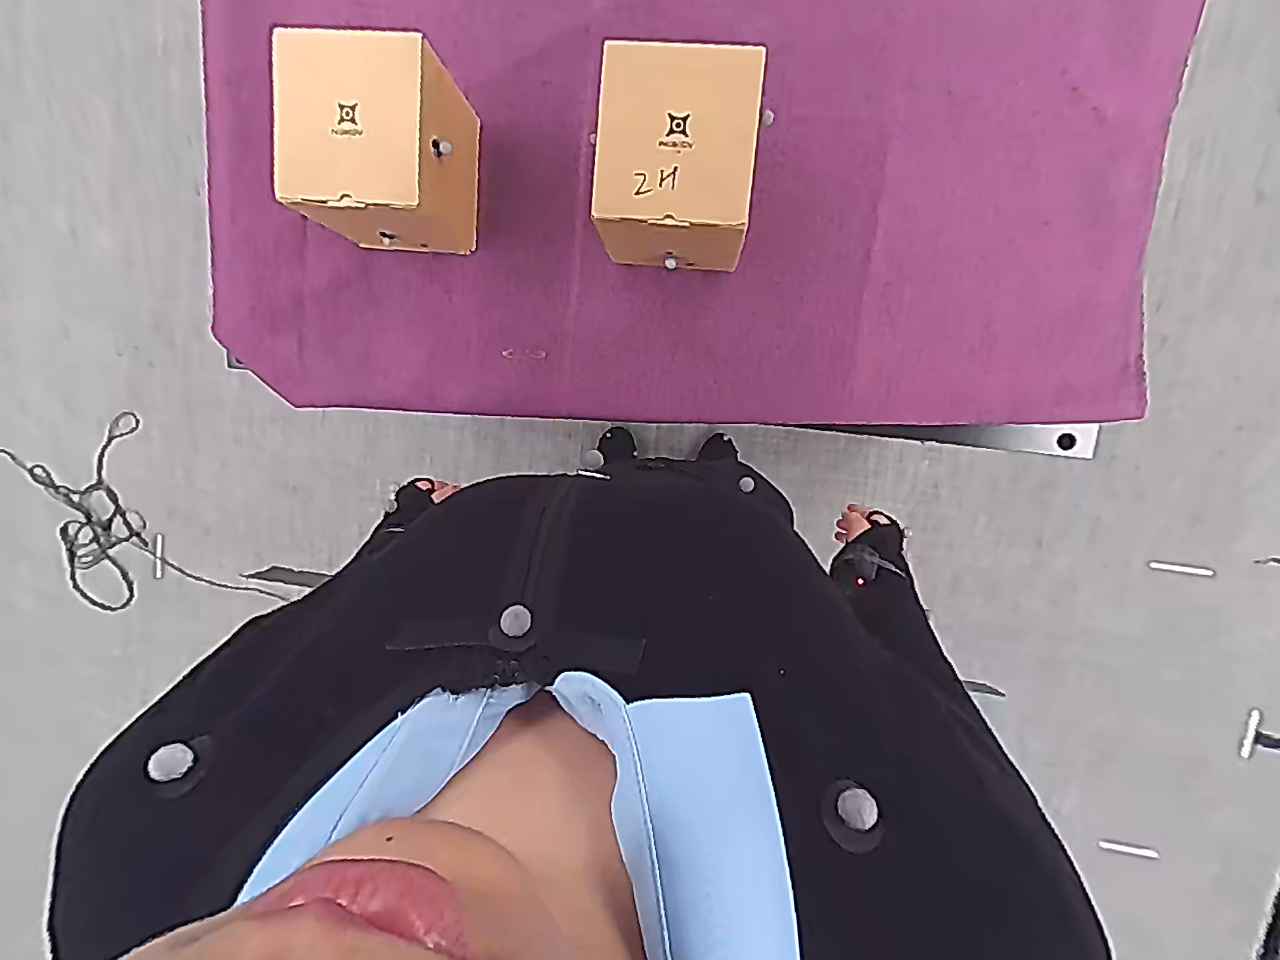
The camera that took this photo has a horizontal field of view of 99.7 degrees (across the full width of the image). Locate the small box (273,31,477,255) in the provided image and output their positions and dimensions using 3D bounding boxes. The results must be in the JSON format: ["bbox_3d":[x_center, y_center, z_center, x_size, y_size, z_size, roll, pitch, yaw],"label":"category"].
[{"bbox_3d":[-0.308,-0.393,0.658,0.168,0.176,0.179,5,98,3],"label":"small box"}]

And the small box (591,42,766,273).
[{"bbox_3d":[0.043,-0.359,0.632,0.168,0.176,0.179,6,97,5],"label":"small box"}]
